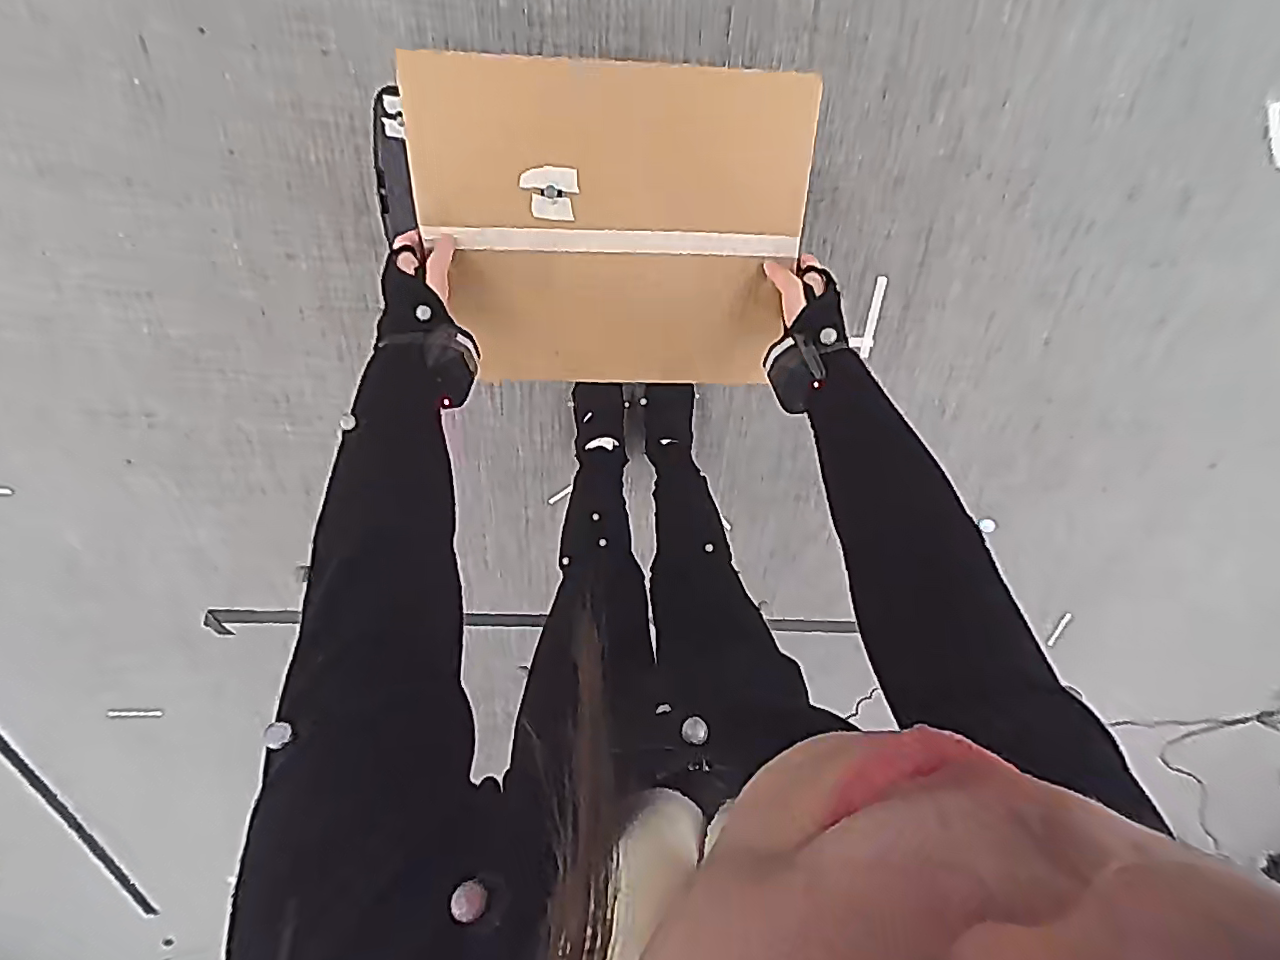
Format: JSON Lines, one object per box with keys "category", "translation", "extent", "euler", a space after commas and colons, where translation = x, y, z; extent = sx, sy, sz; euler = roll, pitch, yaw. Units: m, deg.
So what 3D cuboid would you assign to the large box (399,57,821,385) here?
{"category": "large box", "translation": [-0.034, -0.321, 0.702], "extent": [0.408, 0.320, 0.320], "euler": [0, 117, -4]}
